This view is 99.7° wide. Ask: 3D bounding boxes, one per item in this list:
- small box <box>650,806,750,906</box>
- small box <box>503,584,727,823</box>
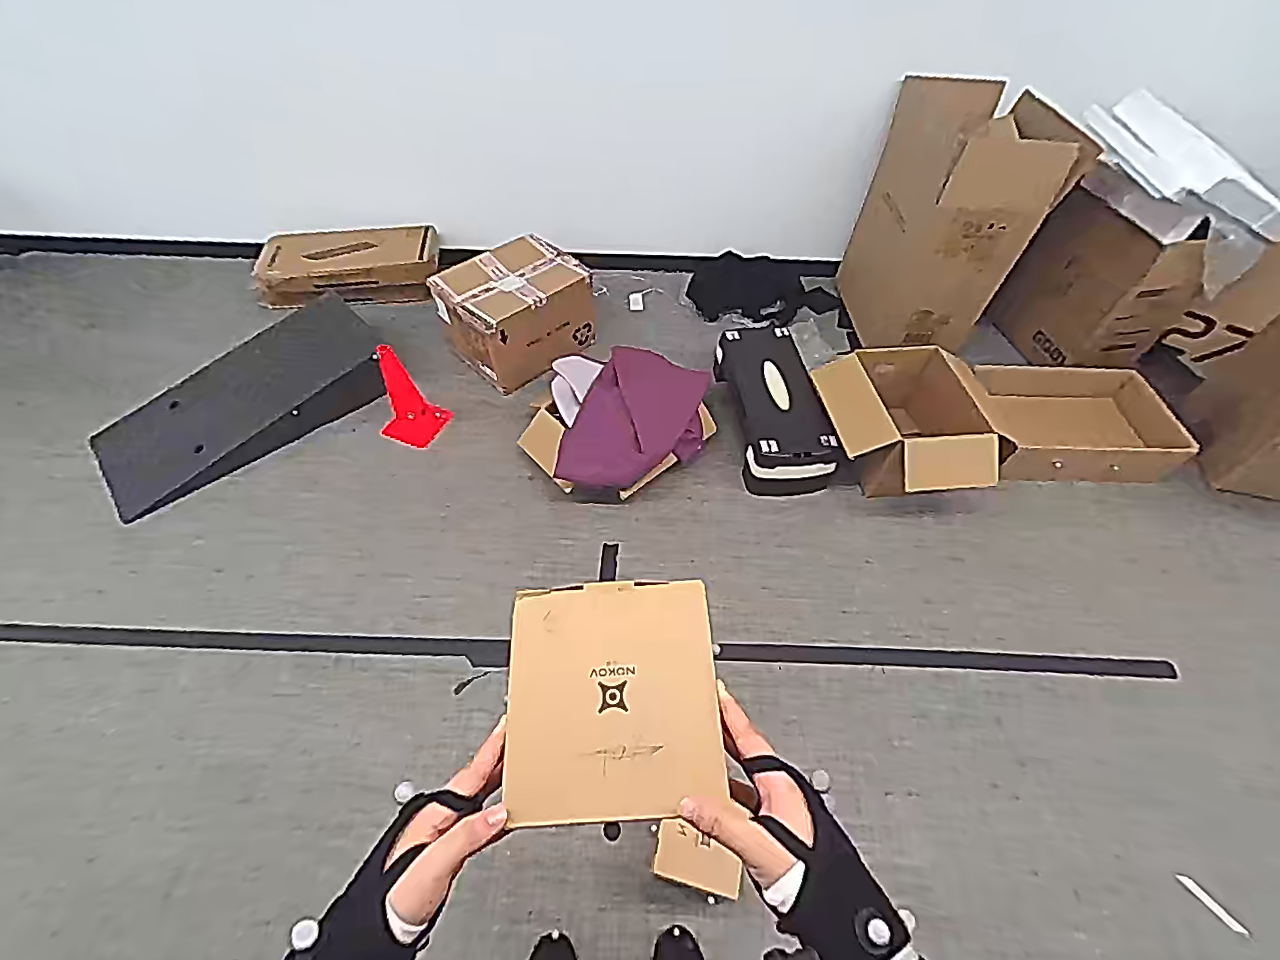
[{"bbox_3d":[0.127,0.796,1.175,0.179,0.176,0.168,13,53,8],"label":"small box"},{"bbox_3d":[-0.020,0.210,0.500,0.168,0.176,0.179,-3,60,0],"label":"small box"}]
